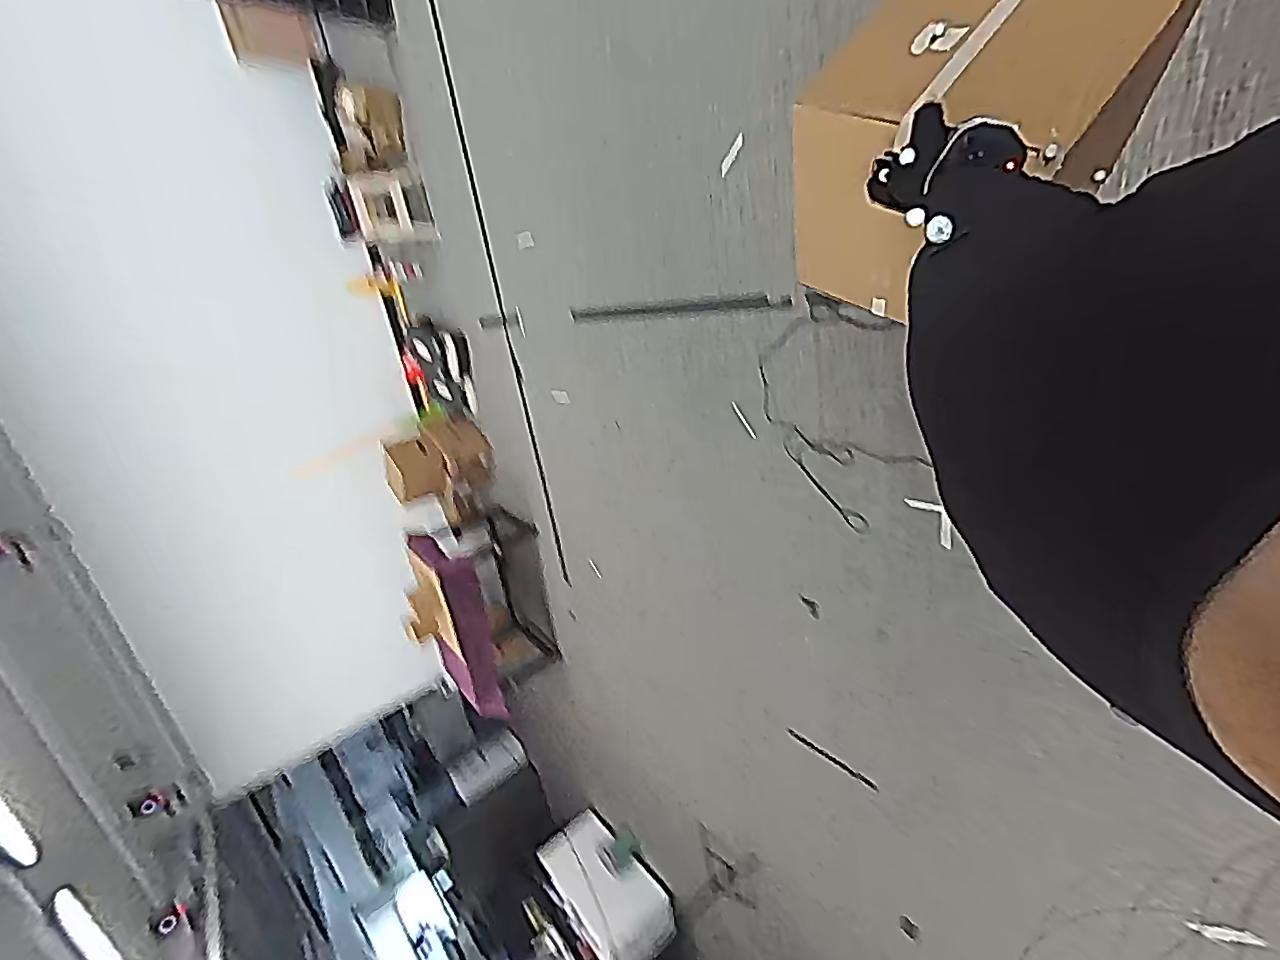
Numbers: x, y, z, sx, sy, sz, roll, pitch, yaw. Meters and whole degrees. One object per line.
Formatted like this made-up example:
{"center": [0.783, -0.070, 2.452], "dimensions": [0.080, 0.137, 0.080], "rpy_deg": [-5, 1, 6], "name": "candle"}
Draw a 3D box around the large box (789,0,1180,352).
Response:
{"center": [0.464, -0.474, 0.787], "dimensions": [0.320, 0.408, 0.320], "rpy_deg": [34, 170, 29], "name": "large box"}
